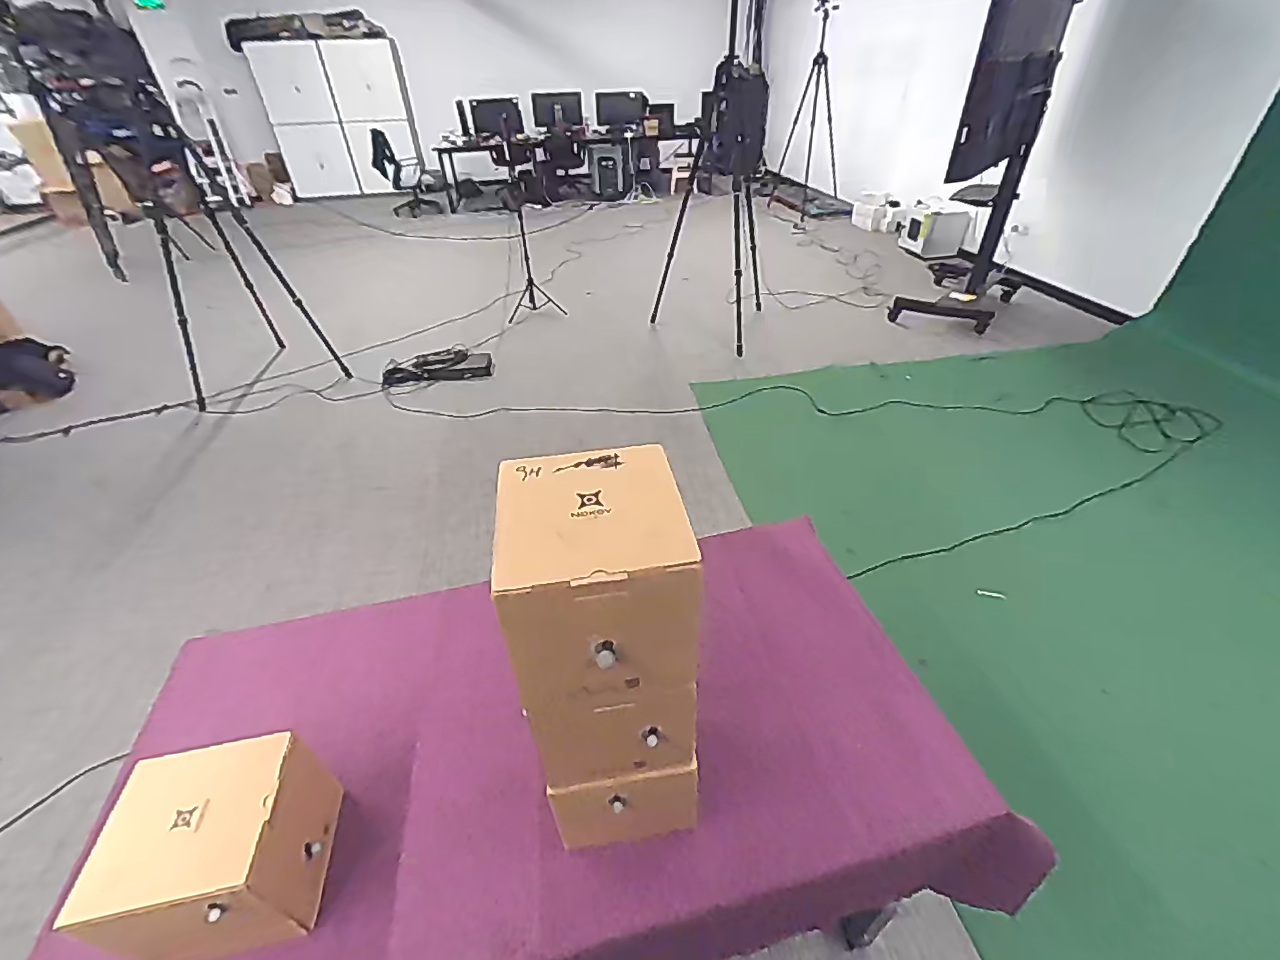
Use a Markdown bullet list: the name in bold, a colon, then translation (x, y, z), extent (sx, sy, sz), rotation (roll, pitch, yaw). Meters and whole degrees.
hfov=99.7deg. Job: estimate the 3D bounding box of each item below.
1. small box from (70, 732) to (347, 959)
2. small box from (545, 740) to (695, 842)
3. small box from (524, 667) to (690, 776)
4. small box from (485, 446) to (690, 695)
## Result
- **small box**: translation (-0.491, 0.441, 0.654), extent (0.179, 0.176, 0.168), rotation (-9, 38, -8)
- **small box**: translation (-0.026, 0.356, 0.724), extent (0.179, 0.176, 0.168), rotation (-7, 38, -4)
- **small box**: translation (-0.035, 0.221, 0.632), extent (0.168, 0.176, 0.179), rotation (-7, 37, -4)
- **small box**: translation (-0.047, 0.091, 0.532), extent (0.168, 0.176, 0.179), rotation (-7, 38, -6)
